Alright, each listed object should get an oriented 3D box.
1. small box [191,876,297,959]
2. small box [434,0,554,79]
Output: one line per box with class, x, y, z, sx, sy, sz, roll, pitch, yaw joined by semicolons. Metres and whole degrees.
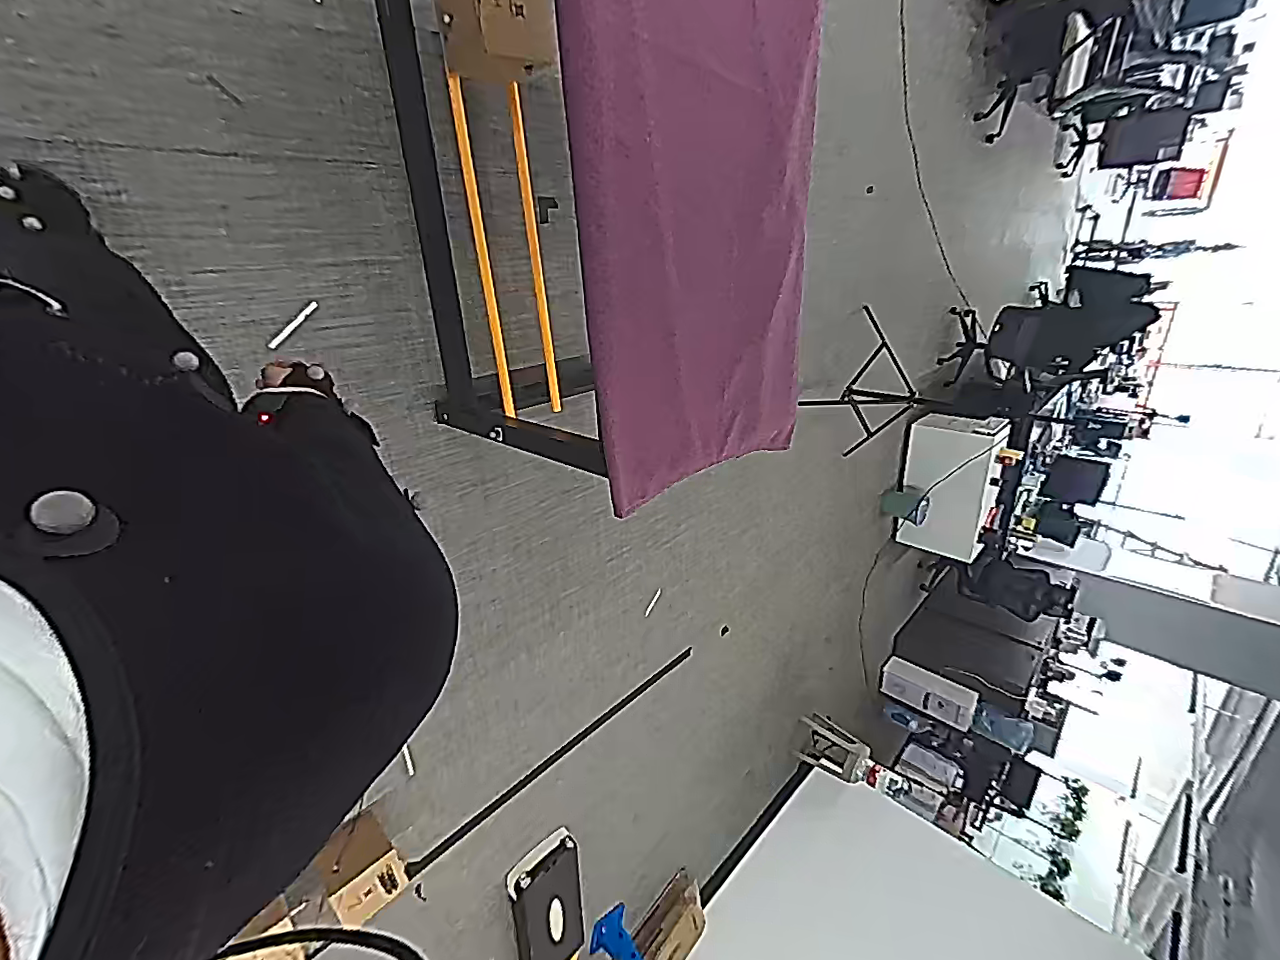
small box;-0.973;1.142;1.333;0.168;0.176;0.179;-20;117;-42
small box;-0.309;-0.969;1.140;0.179;0.176;0.168;-25;121;-37
